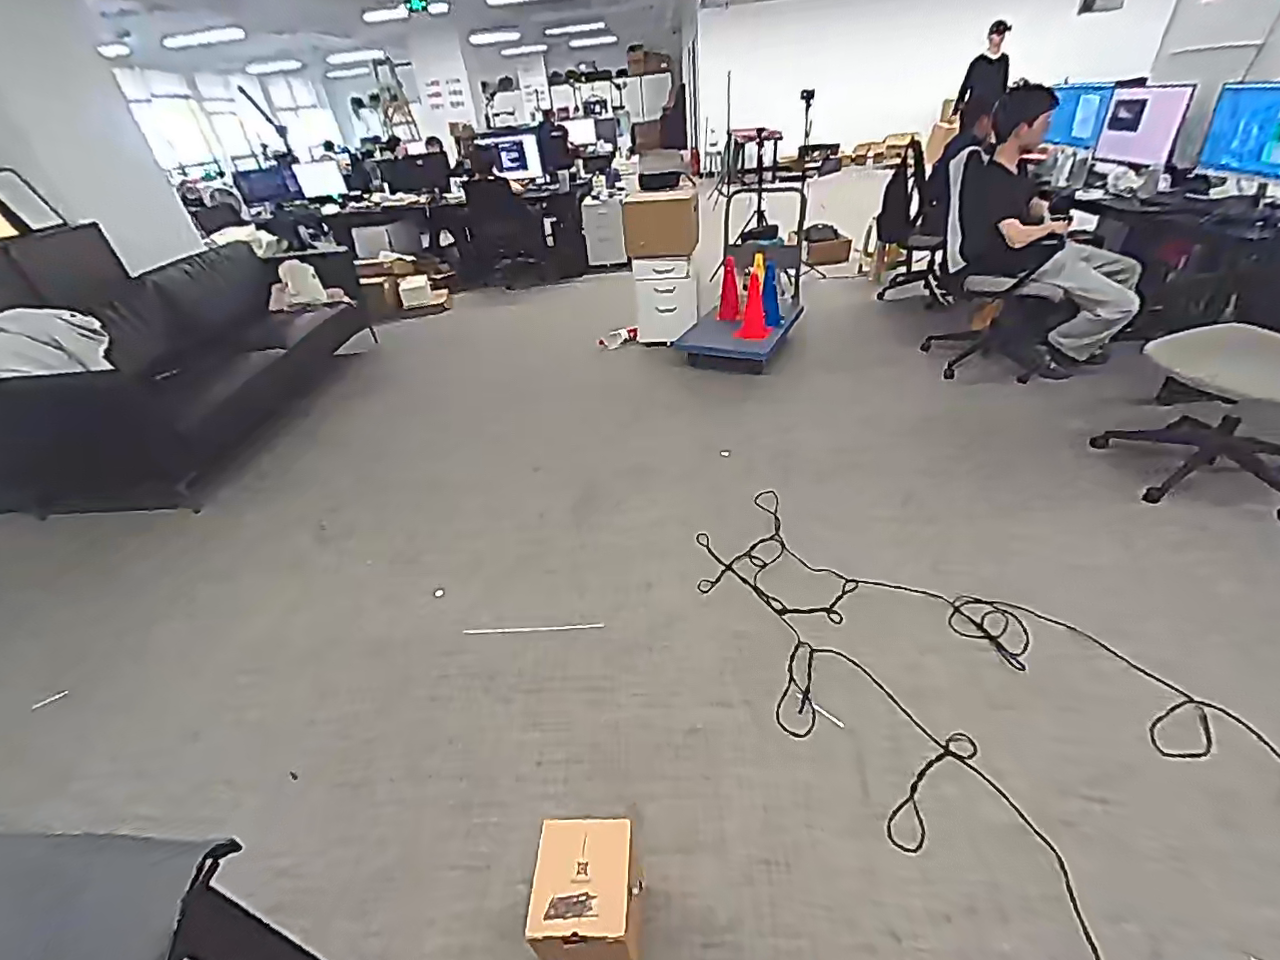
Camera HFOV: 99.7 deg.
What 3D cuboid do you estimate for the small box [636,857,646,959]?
[{"bbox_3d":[-0.080,0.873,1.066,0.168,0.176,0.179,-3,34,7],"label":"small box"}]

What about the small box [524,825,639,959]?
[{"bbox_3d":[-0.092,0.746,0.963,0.168,0.176,0.179,-3,34,5],"label":"small box"}]
